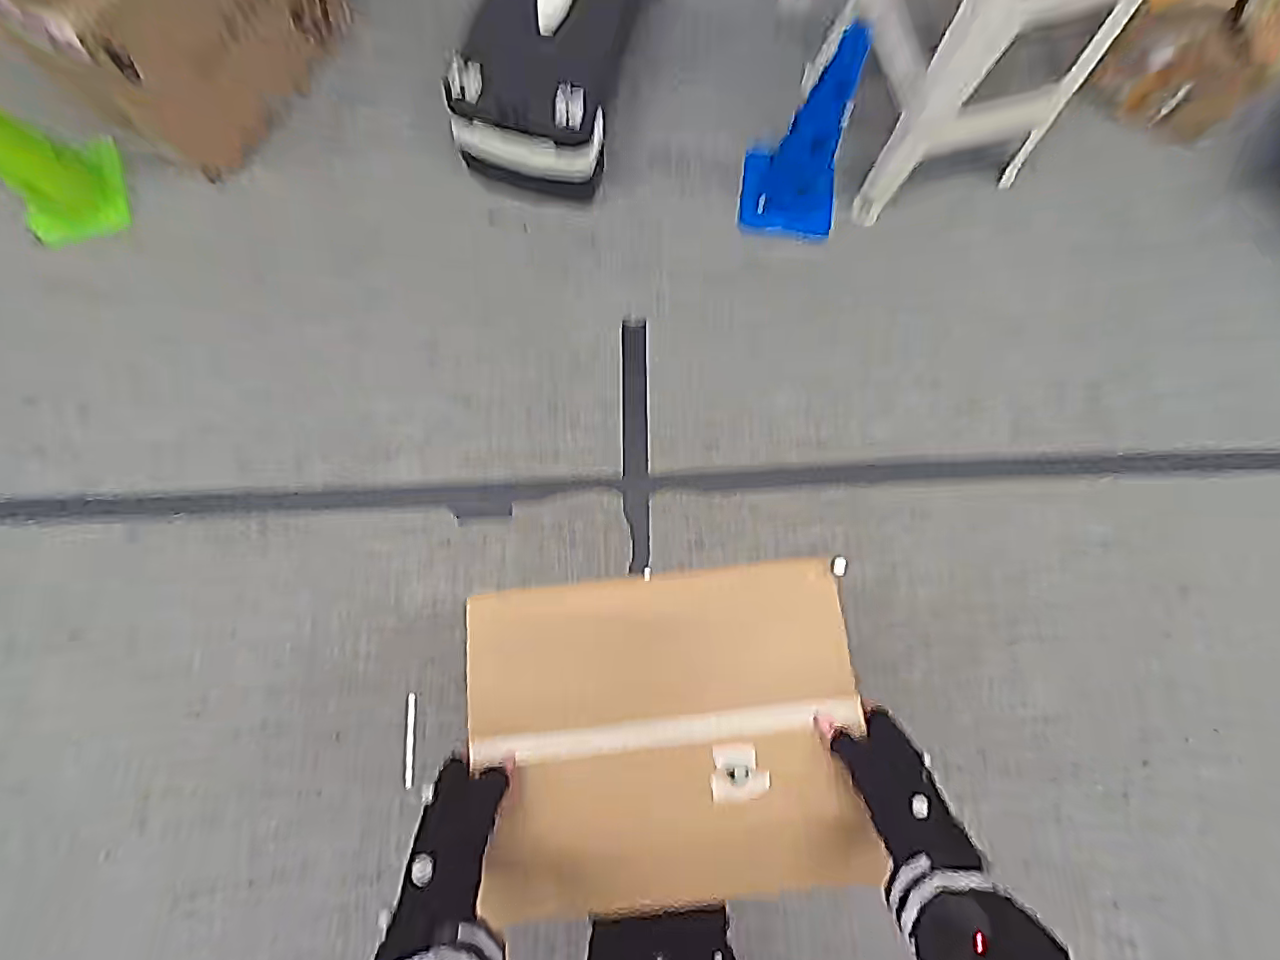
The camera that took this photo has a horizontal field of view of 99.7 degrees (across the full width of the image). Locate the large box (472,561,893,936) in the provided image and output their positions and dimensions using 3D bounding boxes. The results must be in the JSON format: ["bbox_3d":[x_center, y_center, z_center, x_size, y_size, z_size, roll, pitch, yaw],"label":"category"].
[{"bbox_3d":[0.030,0.301,0.698,0.408,0.320,0.320,-6,75,-2],"label":"large box"}]
